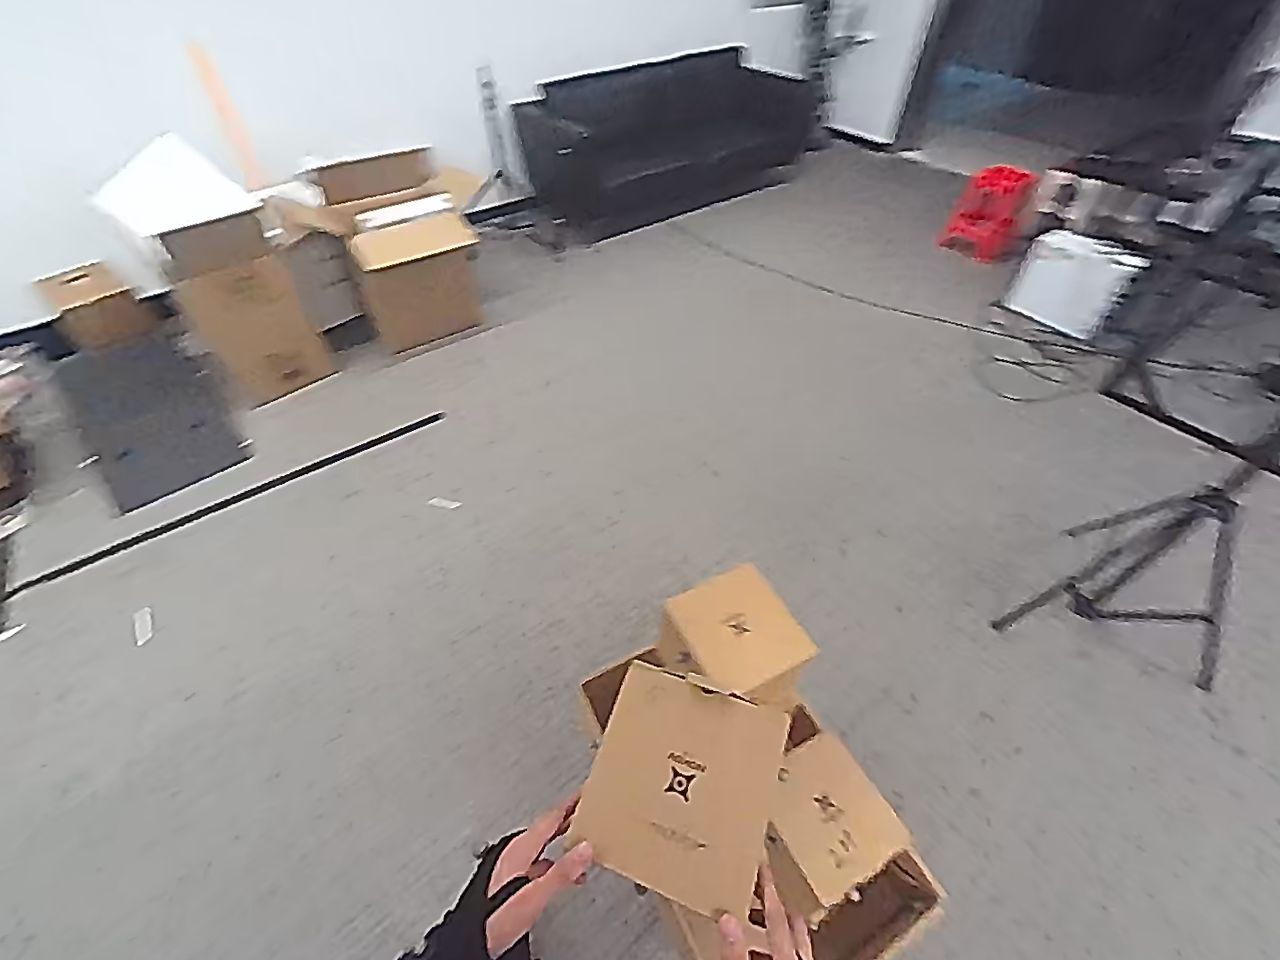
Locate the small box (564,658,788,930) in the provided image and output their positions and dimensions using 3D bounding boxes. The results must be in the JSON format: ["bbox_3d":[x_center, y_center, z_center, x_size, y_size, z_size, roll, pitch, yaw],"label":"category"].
[{"bbox_3d":[0.043,0.315,0.558,0.168,0.176,0.179,14,59,16],"label":"small box"}]

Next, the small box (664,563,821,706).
[{"bbox_3d":[0.150,0.269,0.858,0.168,0.176,0.179,-20,51,-19],"label":"small box"}]
